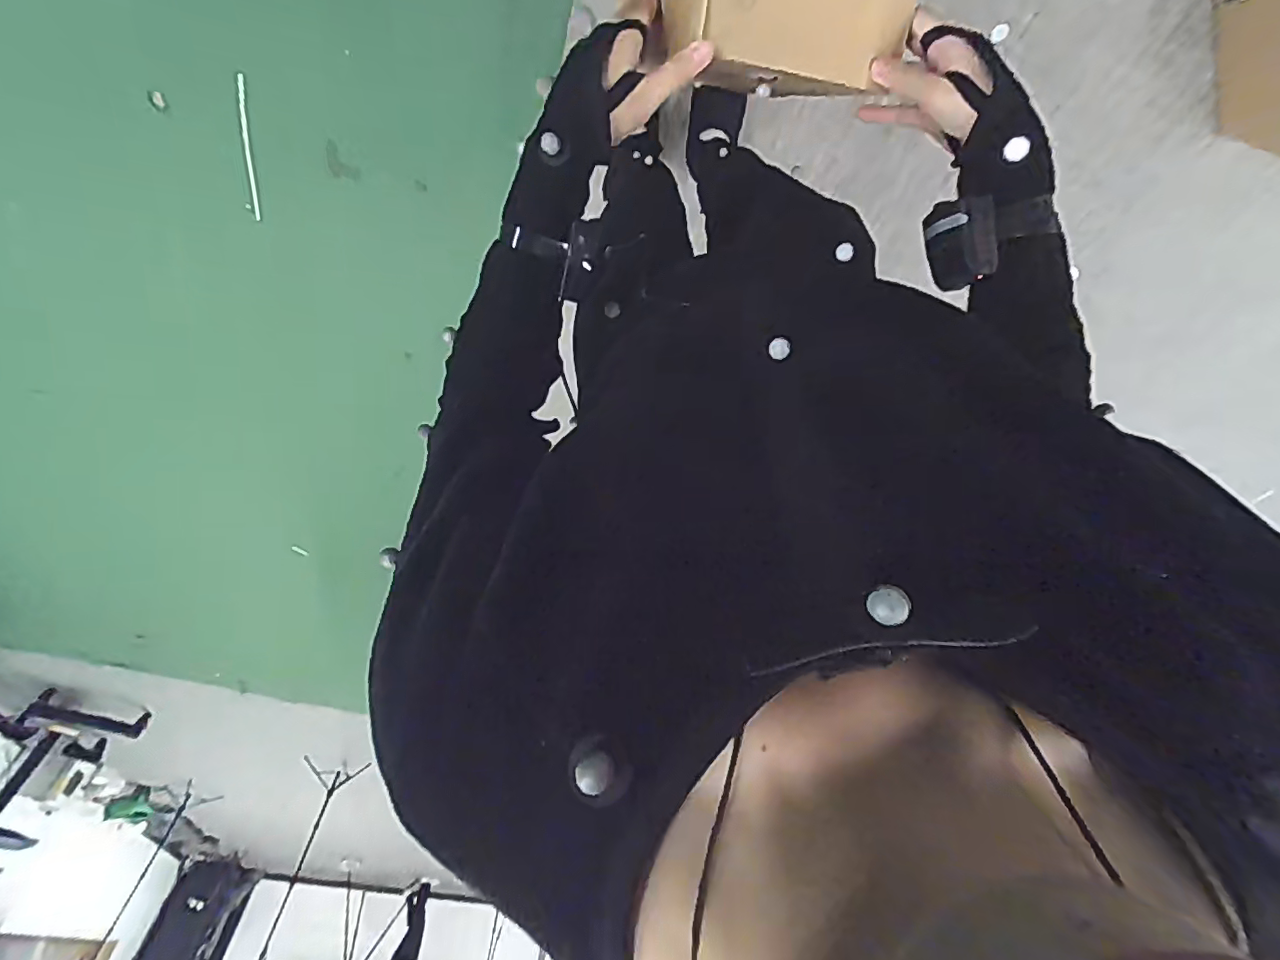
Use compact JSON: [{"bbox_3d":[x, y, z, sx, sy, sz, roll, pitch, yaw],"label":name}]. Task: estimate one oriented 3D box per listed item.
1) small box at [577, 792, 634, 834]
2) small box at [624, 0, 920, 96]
[{"bbox_3d":[-0.126,1.232,1.917,0.168,0.176,0.179,18,131,-12],"label":"small box"},{"bbox_3d":[0.098,-0.404,0.410,0.179,0.176,0.168,-6,124,-22],"label":"small box"}]
